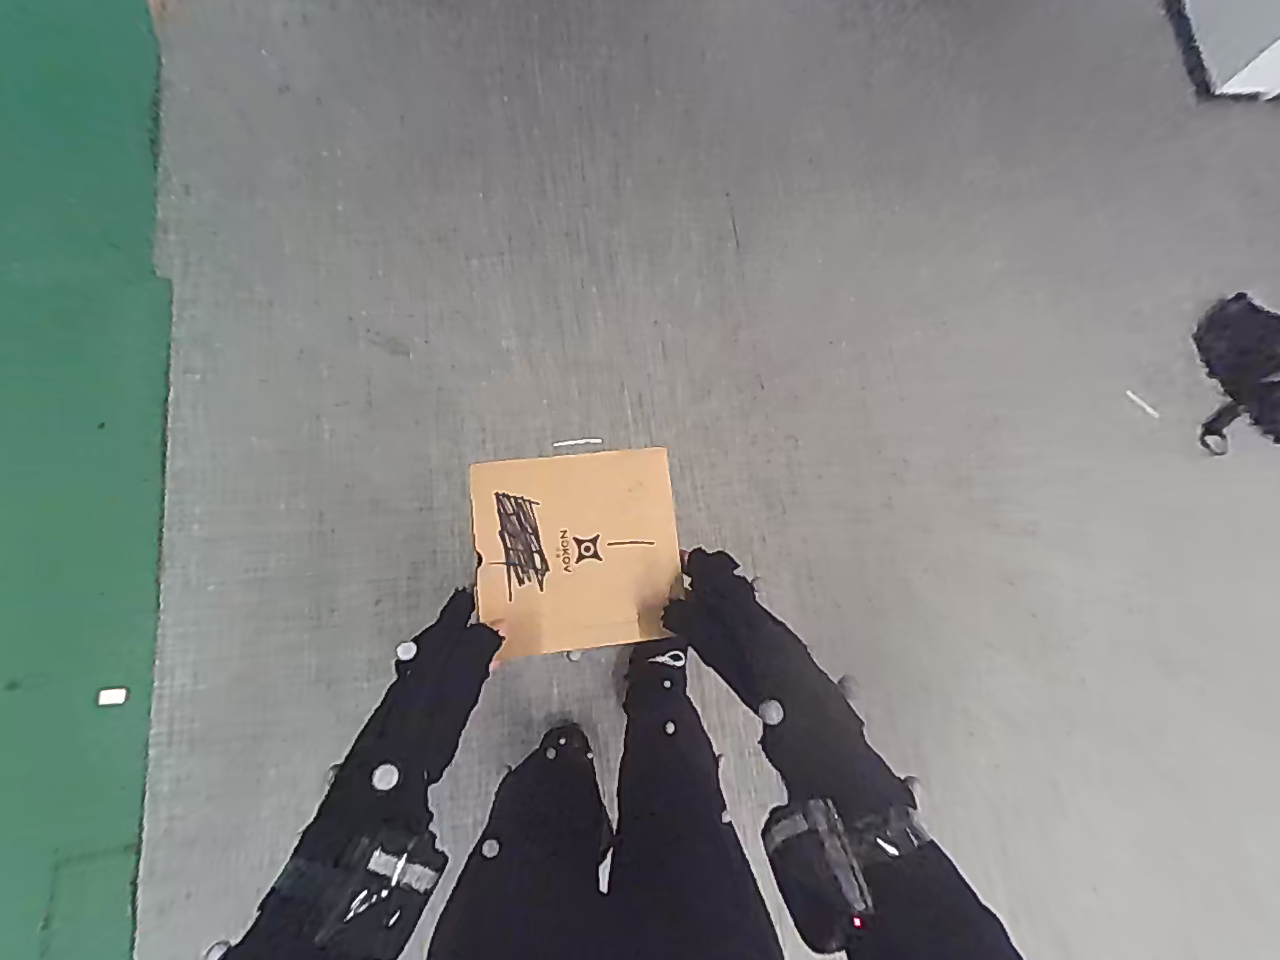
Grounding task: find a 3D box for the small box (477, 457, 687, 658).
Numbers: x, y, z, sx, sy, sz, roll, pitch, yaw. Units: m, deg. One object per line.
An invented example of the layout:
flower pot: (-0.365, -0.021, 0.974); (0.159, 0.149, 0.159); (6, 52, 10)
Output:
small box: (-0.059, 0.082, 0.554); (0.179, 0.176, 0.168); (-5, 79, -7)
